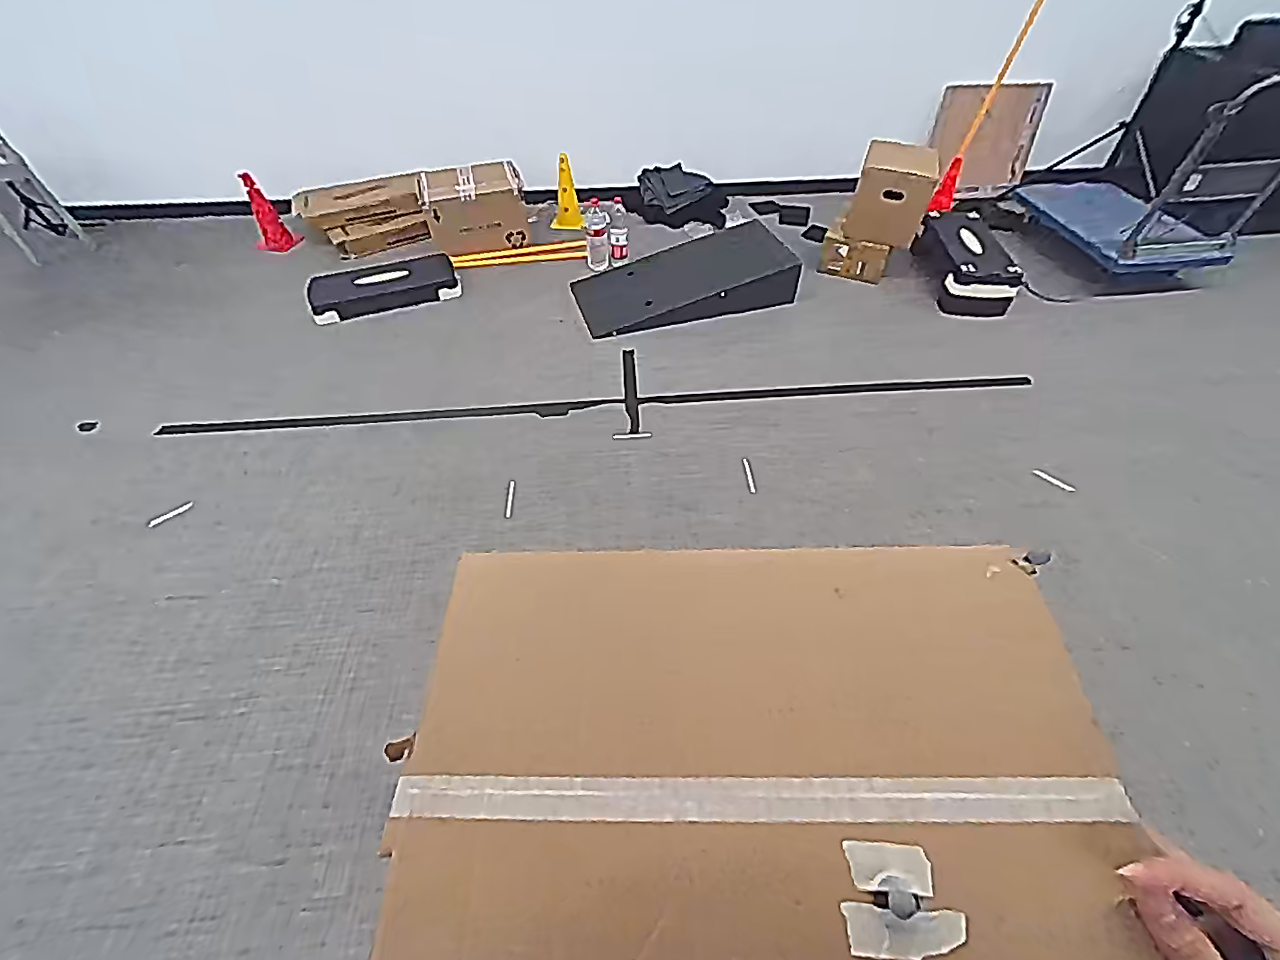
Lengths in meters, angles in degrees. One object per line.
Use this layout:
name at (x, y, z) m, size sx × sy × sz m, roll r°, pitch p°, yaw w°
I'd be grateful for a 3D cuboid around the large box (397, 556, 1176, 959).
large box at (0.075, 0.273, 0.439) m, size 0.408 × 0.320 × 0.320 m, roll -2°, pitch 56°, yaw 2°
